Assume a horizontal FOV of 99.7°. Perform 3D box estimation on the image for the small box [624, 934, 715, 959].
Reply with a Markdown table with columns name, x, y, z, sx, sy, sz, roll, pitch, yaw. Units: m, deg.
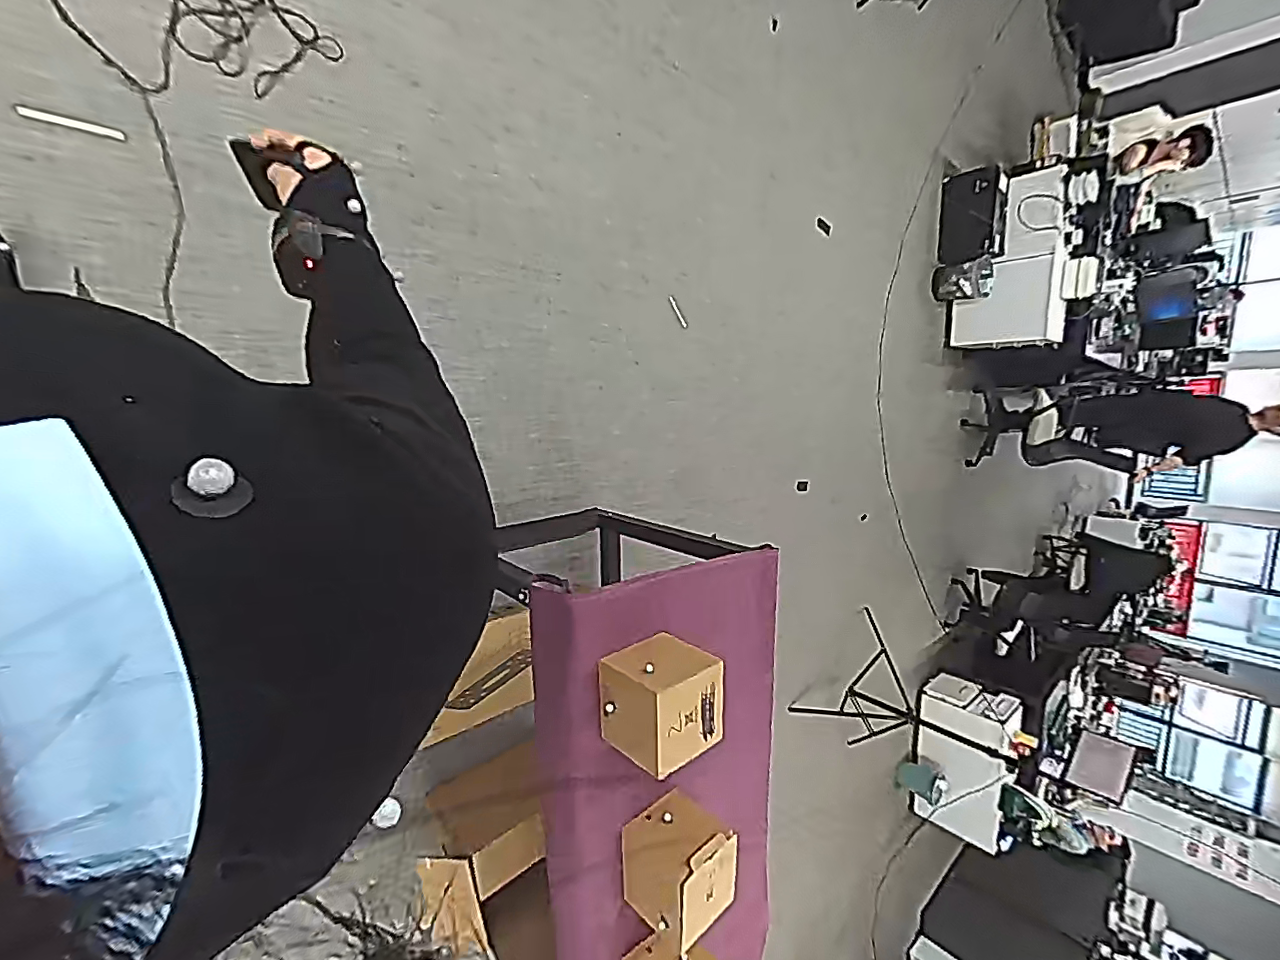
| name | x | y | z | sx | sy | sz | roll | pitch | yaw |
| --- | --- | --- | --- | --- | --- | --- | --- | --- | --- |
| small box | 0.064 | 1.123 | 1.165 | 0.168 | 0.176 | 0.179 | 0 | 97 | -42 |

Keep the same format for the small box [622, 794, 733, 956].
| name | x | y | z | sx | sy | sz | roll | pitch | yaw |
| --- | --- | --- | --- | --- | --- | --- | --- | --- | --- |
| small box | 0.075 | 0.807 | 1.128 | 0.168 | 0.176 | 0.179 | -10 | 103 | -43 |
